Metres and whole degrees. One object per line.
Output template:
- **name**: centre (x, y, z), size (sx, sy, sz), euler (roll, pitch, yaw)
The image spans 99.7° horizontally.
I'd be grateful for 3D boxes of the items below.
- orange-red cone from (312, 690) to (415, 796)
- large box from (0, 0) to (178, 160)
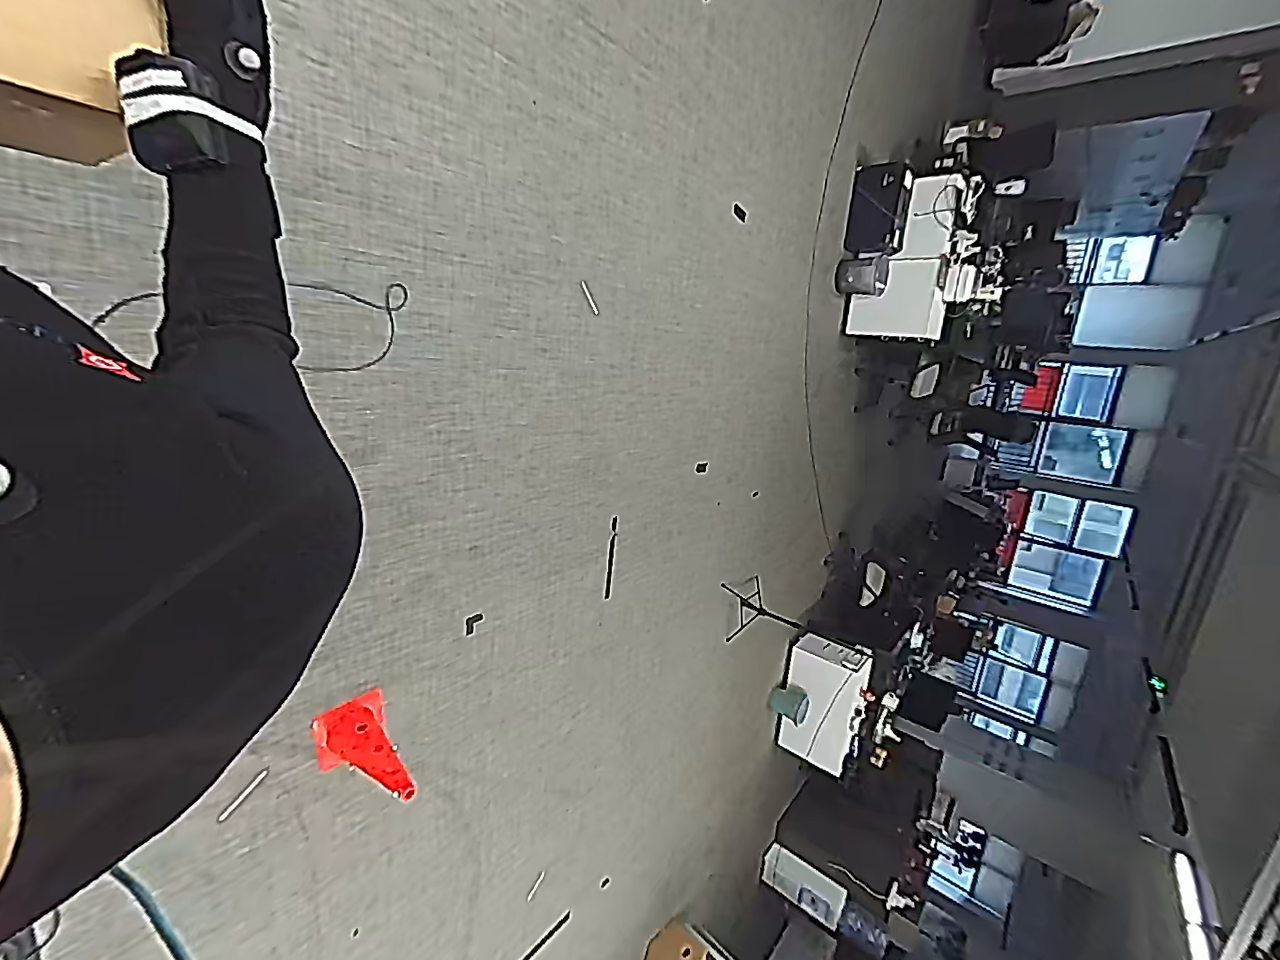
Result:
- **orange-red cone**: centre (-0.755, 0.793, 1.547), size (0.198, 0.360, 0.199), euler (-16, 113, -50)
- **large box**: centre (-0.571, -0.418, 0.297), size (0.408, 0.320, 0.320), euler (-13, 115, -52)
